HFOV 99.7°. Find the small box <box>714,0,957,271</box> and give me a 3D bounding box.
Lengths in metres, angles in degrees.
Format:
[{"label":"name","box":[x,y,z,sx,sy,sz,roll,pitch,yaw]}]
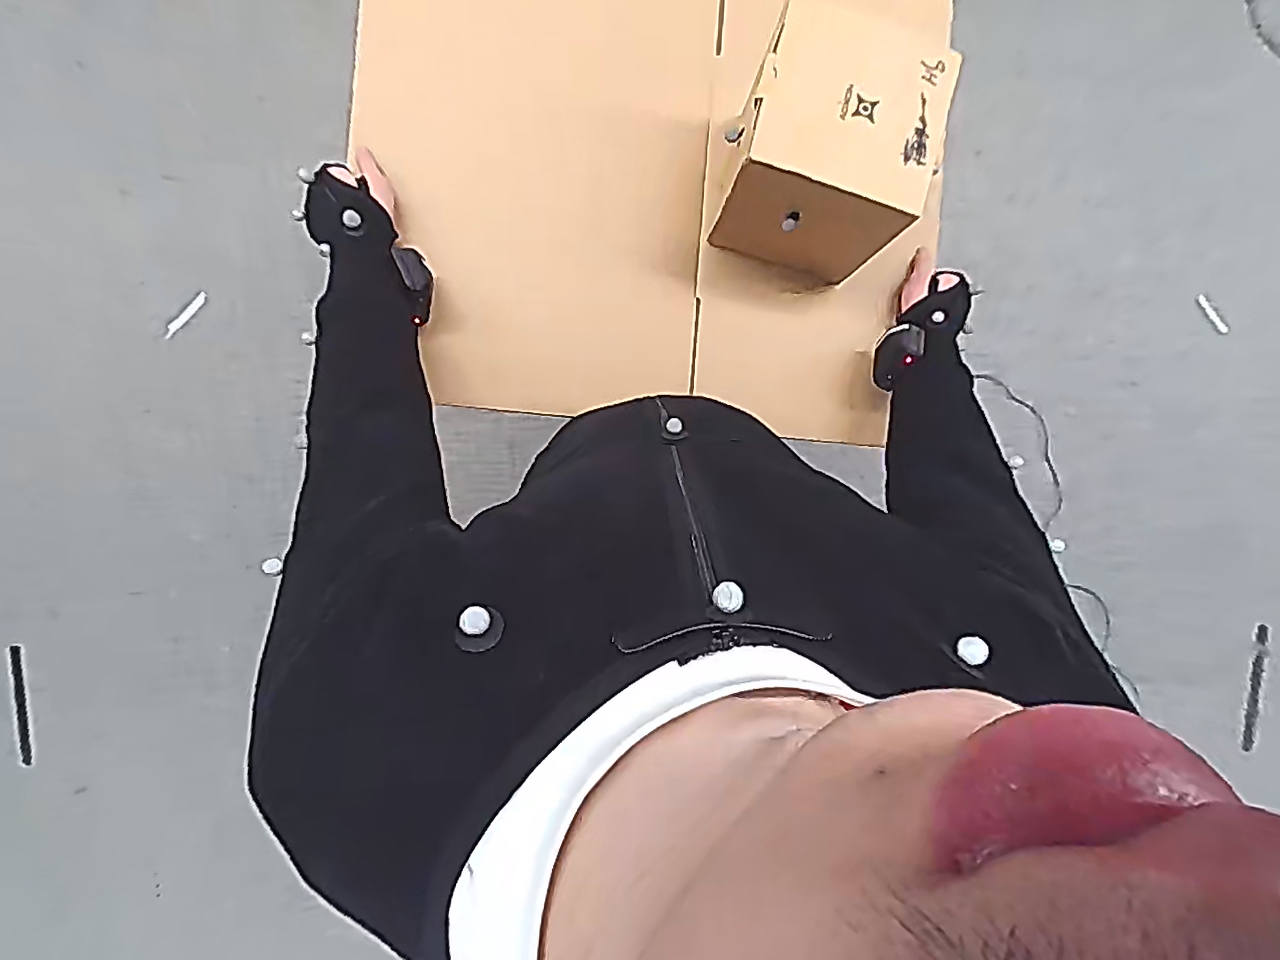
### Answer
[{"label":"small box","box":[0.192,-0.353,0.585,0.179,0.176,0.168,16,88,-4]}]
